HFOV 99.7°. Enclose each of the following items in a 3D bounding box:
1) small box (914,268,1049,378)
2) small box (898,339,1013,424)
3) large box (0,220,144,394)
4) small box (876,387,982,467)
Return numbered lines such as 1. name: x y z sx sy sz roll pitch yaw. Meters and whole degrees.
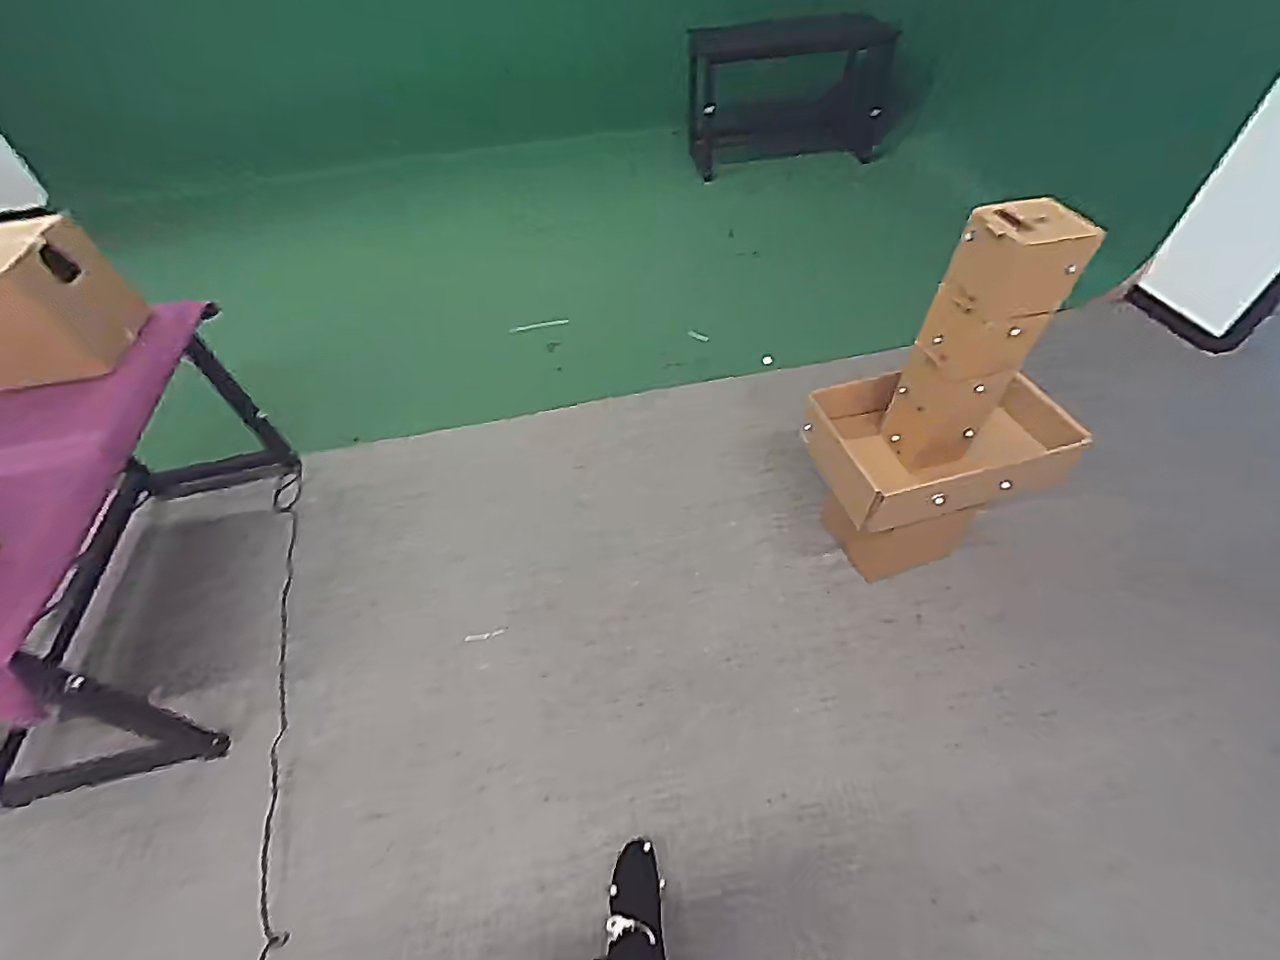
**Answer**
1. small box: 0.789 -0.367 1.270 0.179 0.176 0.168 -15 52 -9
2. small box: 0.797 -0.266 1.397 0.179 0.176 0.168 -14 51 -10
3. large box: -1.692 -0.447 1.439 0.408 0.320 0.320 -11 52 -6
4. small box: 0.803 -0.160 1.522 0.179 0.176 0.168 -13 50 -8
